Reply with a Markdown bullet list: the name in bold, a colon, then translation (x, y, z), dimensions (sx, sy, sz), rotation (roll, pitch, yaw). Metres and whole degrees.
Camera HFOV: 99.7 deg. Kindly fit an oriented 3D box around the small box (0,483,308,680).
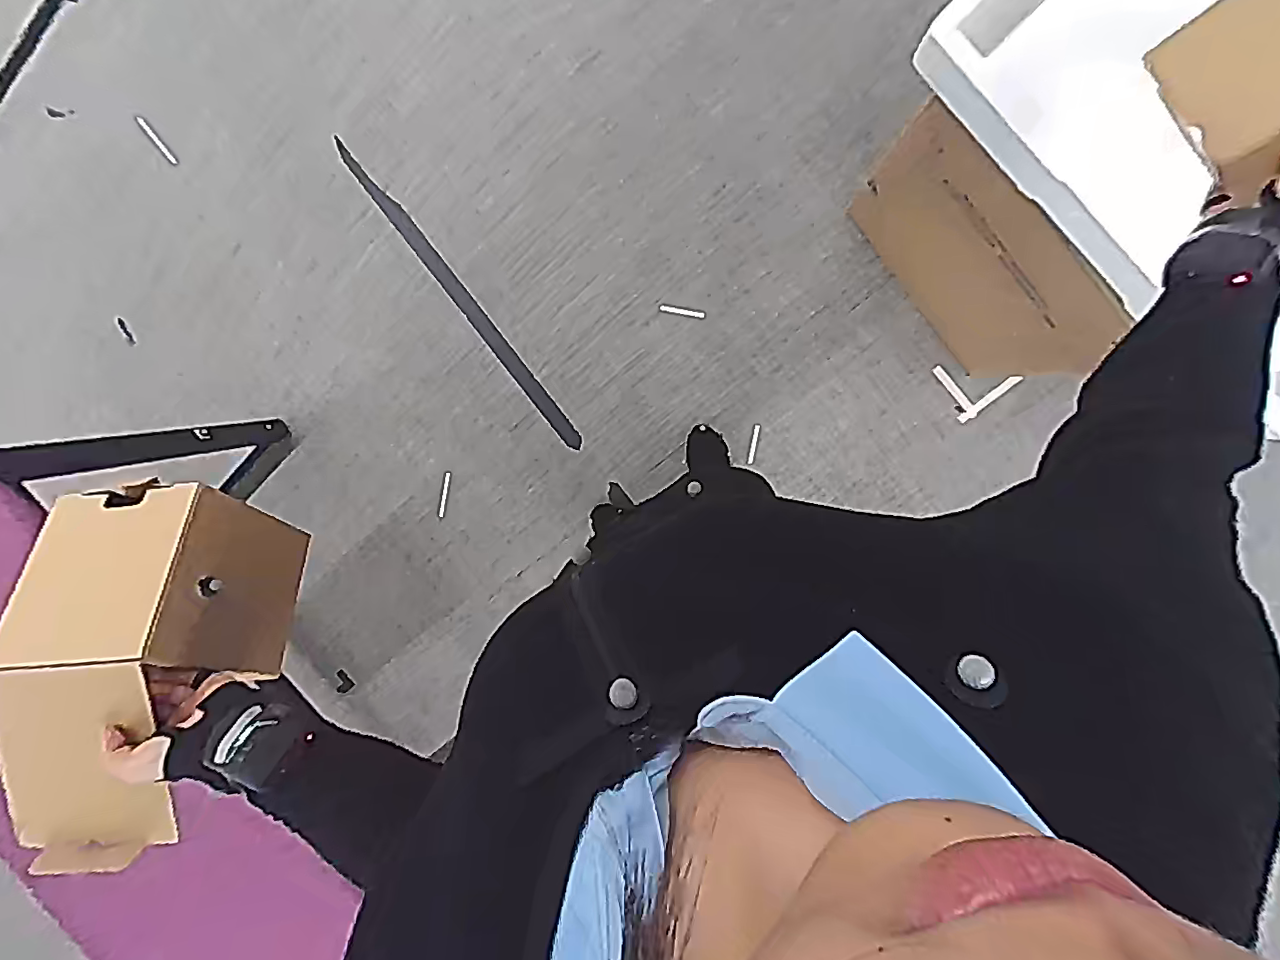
- **small box**: translation (-0.503, 0.120, 0.590), dimensions (0.168, 0.176, 0.179), rotation (-5, 64, 6)
